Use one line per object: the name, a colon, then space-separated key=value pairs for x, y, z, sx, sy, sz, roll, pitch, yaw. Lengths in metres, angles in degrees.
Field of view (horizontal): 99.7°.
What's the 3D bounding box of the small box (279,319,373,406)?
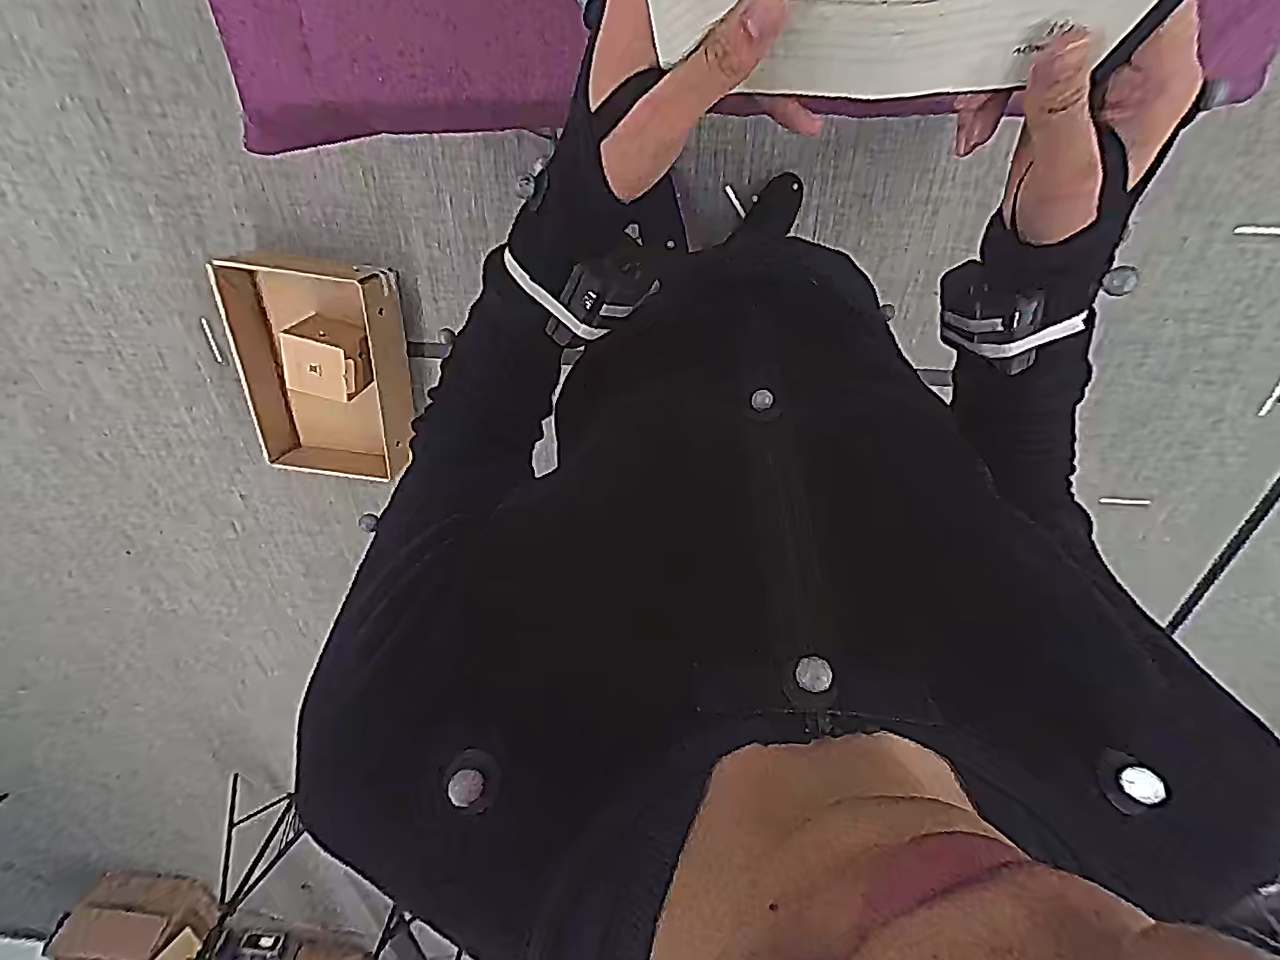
small box: x=-0.875 y=-0.337 z=1.527 sx=0.179 sy=0.176 sz=0.168 roll=14 pitch=123 yaw=-5
